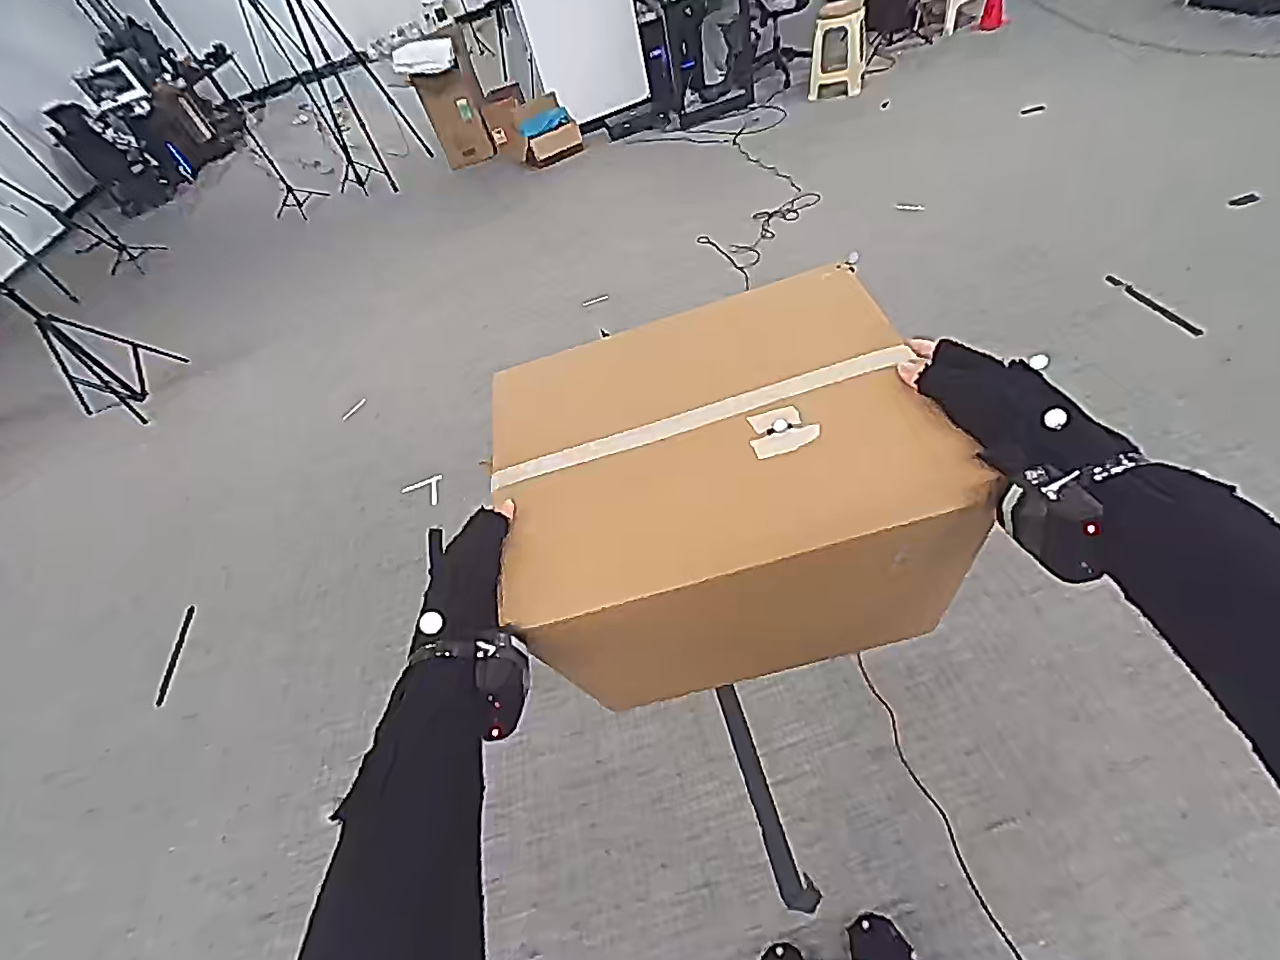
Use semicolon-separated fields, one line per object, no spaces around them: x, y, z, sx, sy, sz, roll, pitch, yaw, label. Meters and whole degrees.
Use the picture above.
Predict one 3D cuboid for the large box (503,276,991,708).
0.091;0.033;0.639;0.408;0.320;0.320;-17;54;5;large box
